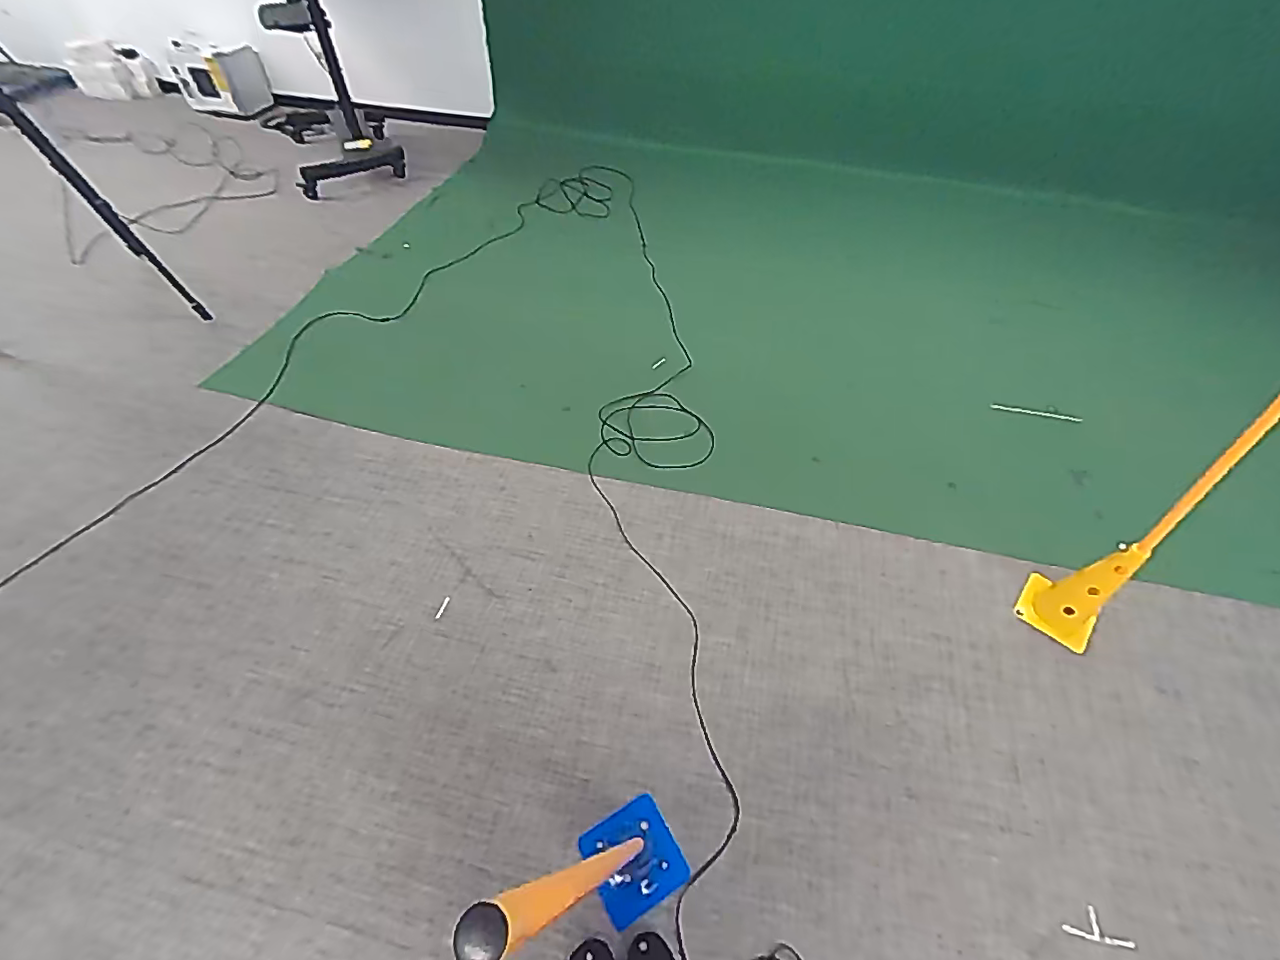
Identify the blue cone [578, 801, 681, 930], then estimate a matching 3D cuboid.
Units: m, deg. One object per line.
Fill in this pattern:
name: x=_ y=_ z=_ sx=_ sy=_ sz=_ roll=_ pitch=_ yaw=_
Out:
blue cone: x=-0.019 y=0.754 z=1.075 sx=0.193 sy=0.380 sz=0.192 roll=-26 pitch=57 yaw=-20
